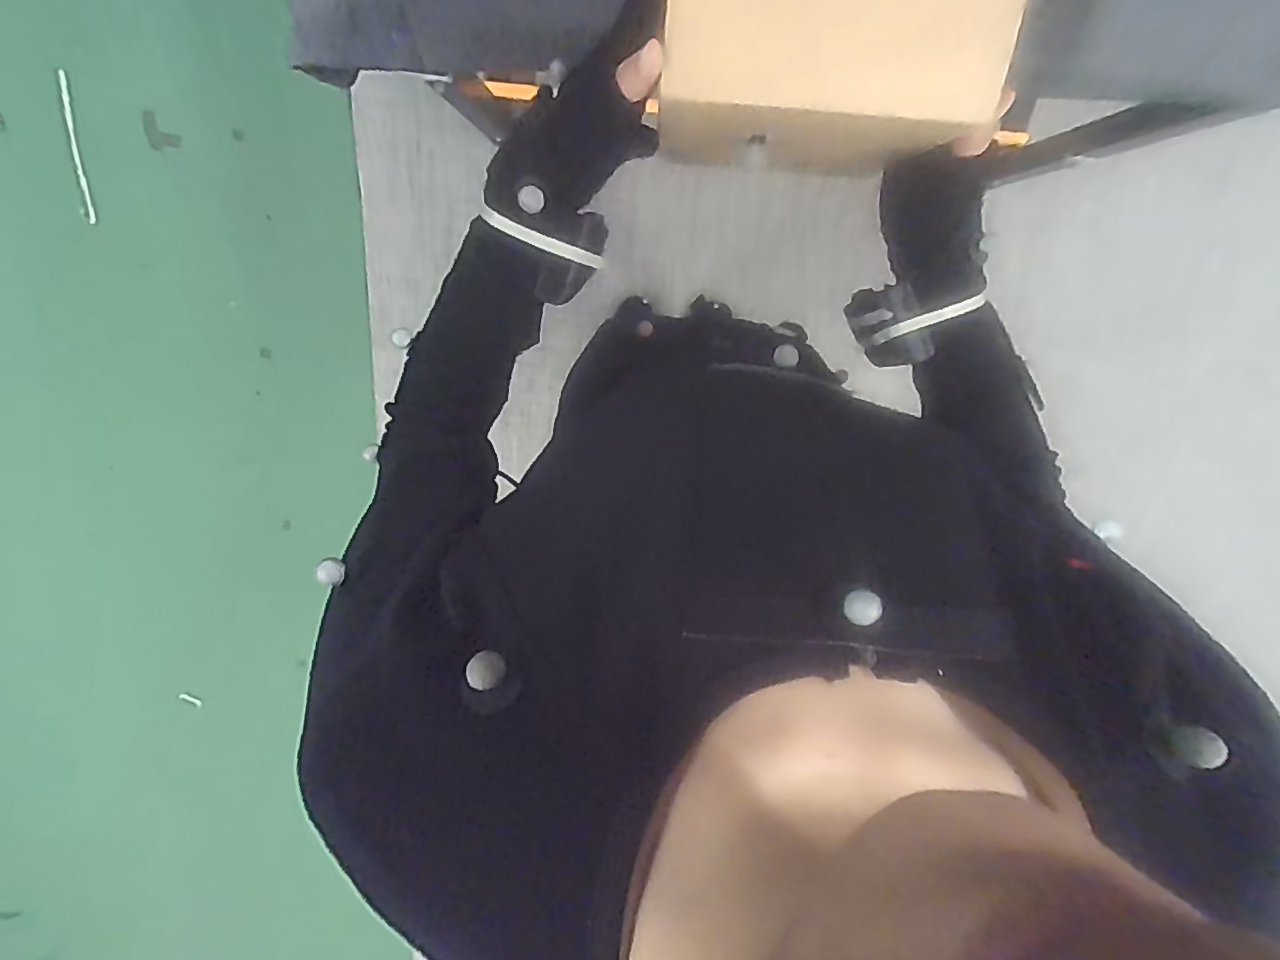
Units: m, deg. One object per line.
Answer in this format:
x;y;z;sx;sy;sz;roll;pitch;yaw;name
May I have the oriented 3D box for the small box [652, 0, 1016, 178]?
0.098;-0.289;0.312;0.168;0.176;0.179;5;108;1;small box
